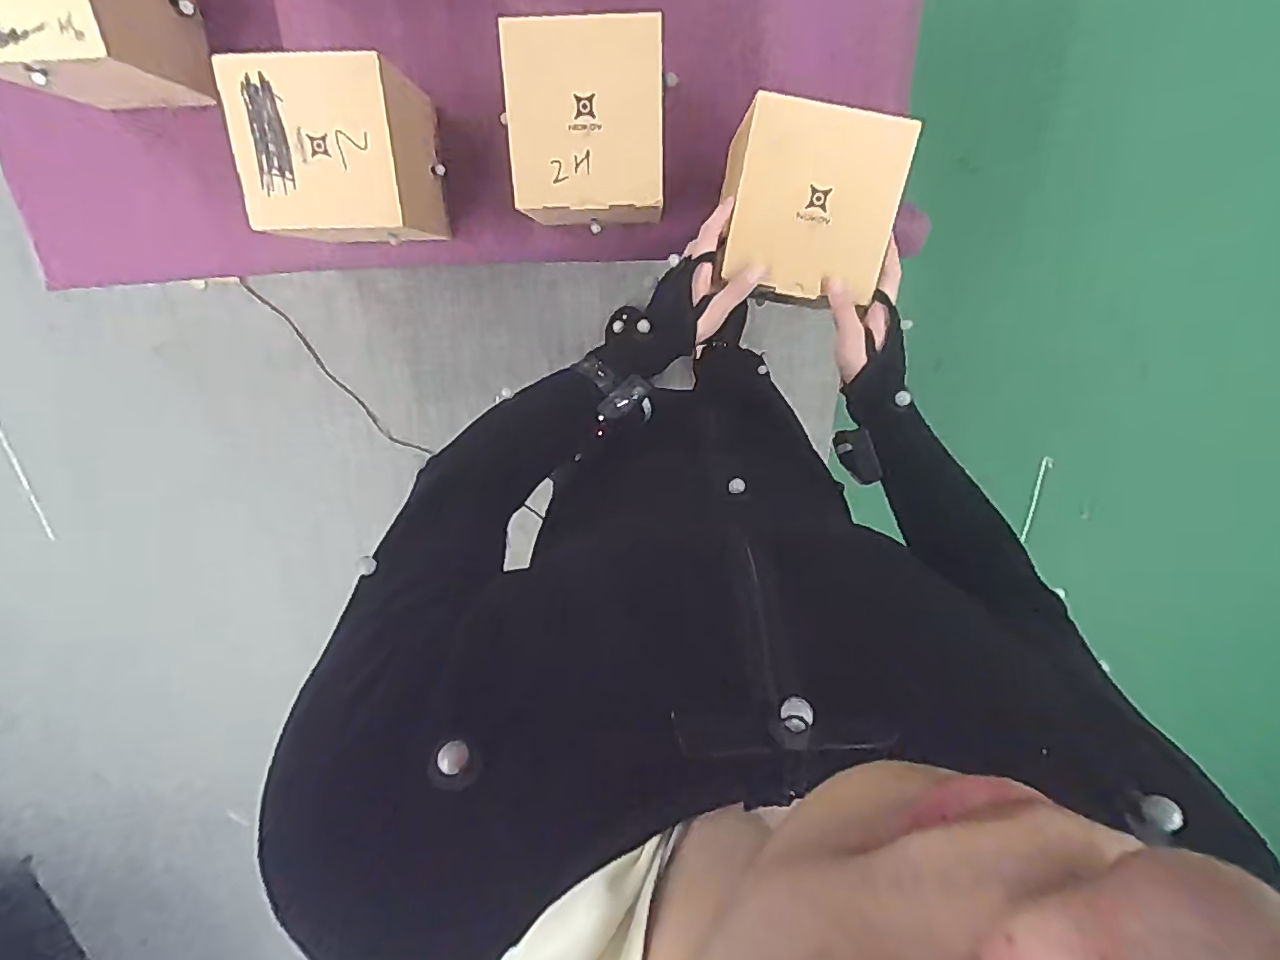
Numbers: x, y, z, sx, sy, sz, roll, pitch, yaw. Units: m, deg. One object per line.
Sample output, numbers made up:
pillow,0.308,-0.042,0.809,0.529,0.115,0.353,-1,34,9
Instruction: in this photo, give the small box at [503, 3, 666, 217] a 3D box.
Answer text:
small box,-0.055,-0.417,0.639,0.168,0.176,0.179,0,111,2

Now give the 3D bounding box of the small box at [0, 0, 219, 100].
small box,-0.622,-0.548,0.595,0.168,0.176,0.179,-1,111,2

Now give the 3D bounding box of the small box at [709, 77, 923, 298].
small box,0.180,-0.312,0.617,0.168,0.176,0.179,9,107,-3
